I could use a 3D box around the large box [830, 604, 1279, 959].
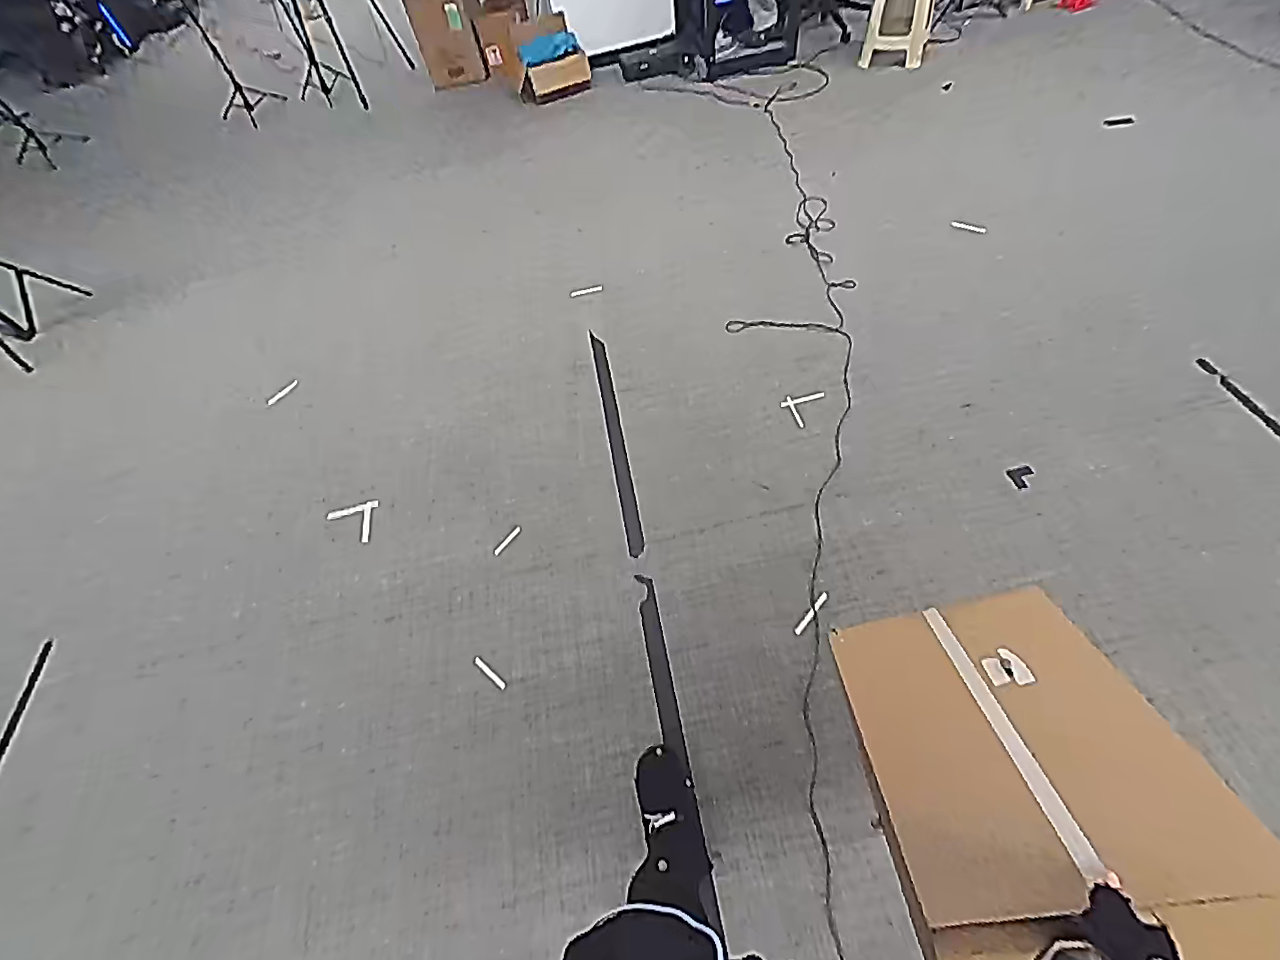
[{"bbox_3d":[0.488,0.439,0.725,0.320,0.320,0.408,-15,23,11],"label":"large box"}]
